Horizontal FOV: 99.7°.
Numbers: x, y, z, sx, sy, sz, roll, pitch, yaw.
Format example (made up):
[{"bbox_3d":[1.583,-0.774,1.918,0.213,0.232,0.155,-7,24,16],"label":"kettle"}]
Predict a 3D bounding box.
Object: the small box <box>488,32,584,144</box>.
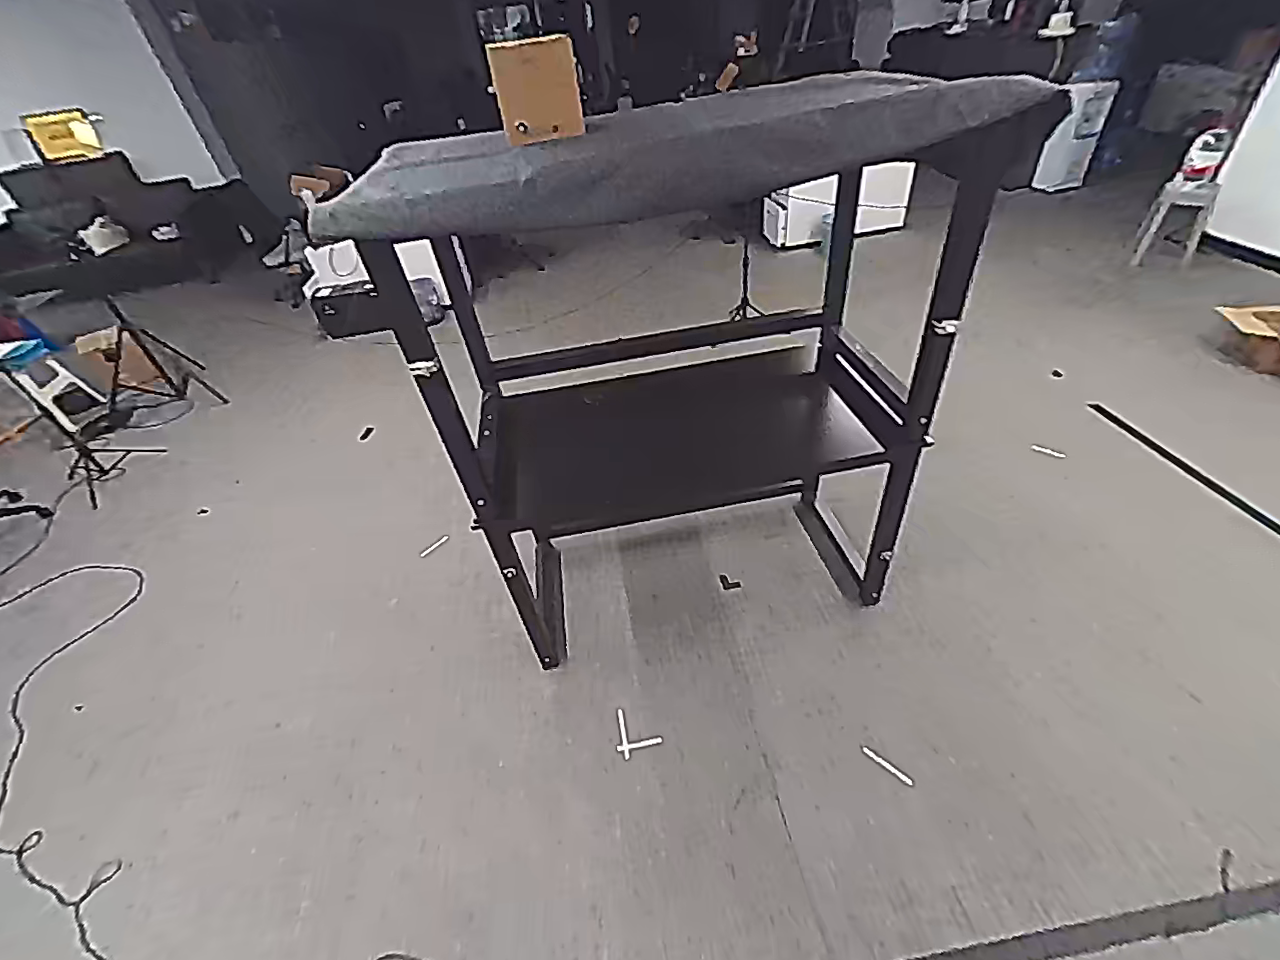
[{"bbox_3d":[-0.221,-0.835,1.156,0.168,0.176,0.179,-13,41,-6],"label":"small box"}]
